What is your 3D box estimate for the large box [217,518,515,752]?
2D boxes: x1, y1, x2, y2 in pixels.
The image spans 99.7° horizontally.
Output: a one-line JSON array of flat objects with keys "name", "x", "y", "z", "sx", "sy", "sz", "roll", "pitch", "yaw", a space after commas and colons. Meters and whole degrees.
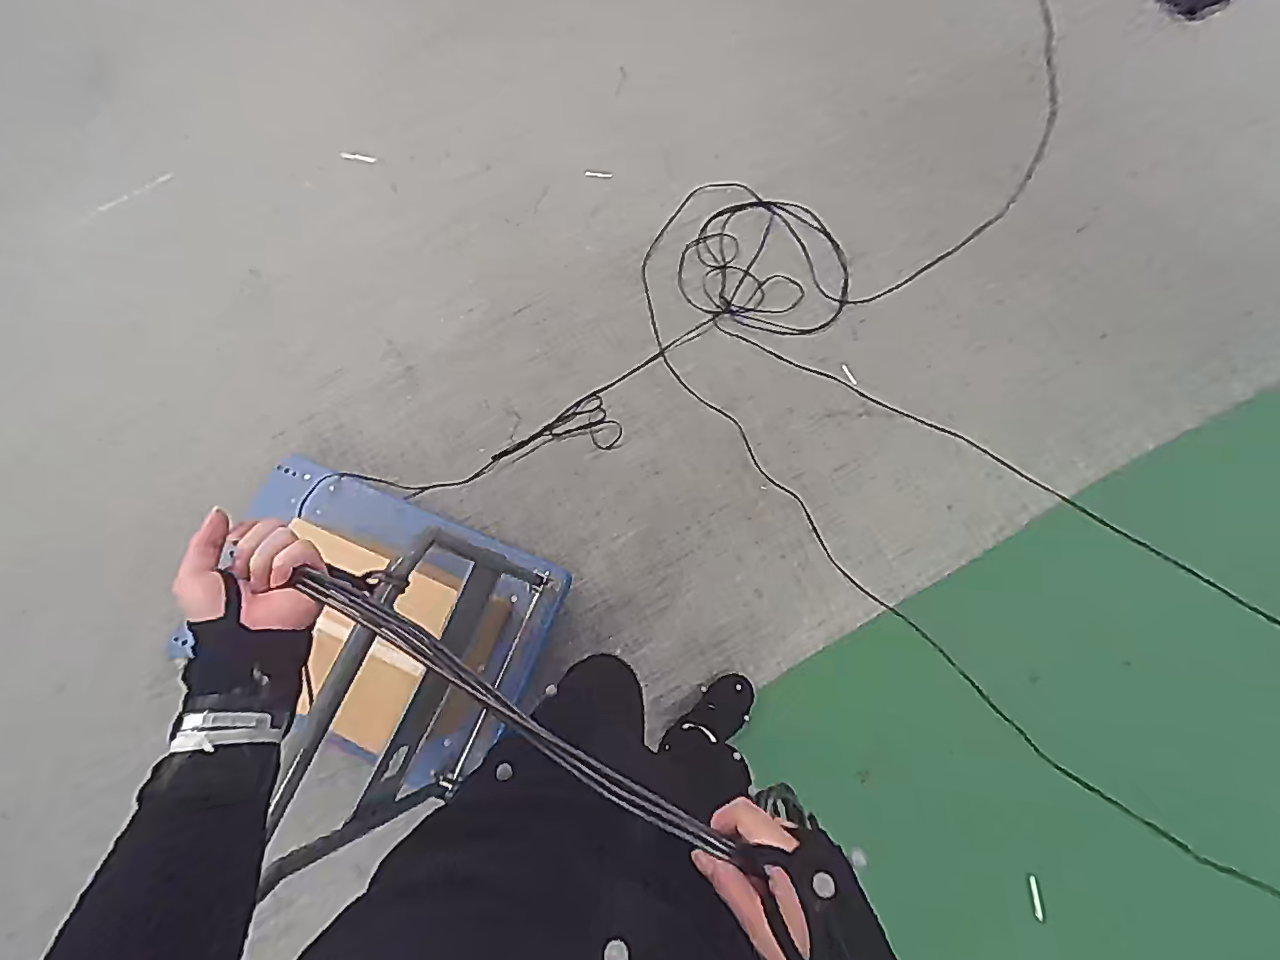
[{"name": "large box", "x": -0.545, "y": 0.315, "z": 1.157, "sx": 0.408, "sy": 0.320, "sz": 0.320, "roll": 21, "pitch": 77, "yaw": 10}]
